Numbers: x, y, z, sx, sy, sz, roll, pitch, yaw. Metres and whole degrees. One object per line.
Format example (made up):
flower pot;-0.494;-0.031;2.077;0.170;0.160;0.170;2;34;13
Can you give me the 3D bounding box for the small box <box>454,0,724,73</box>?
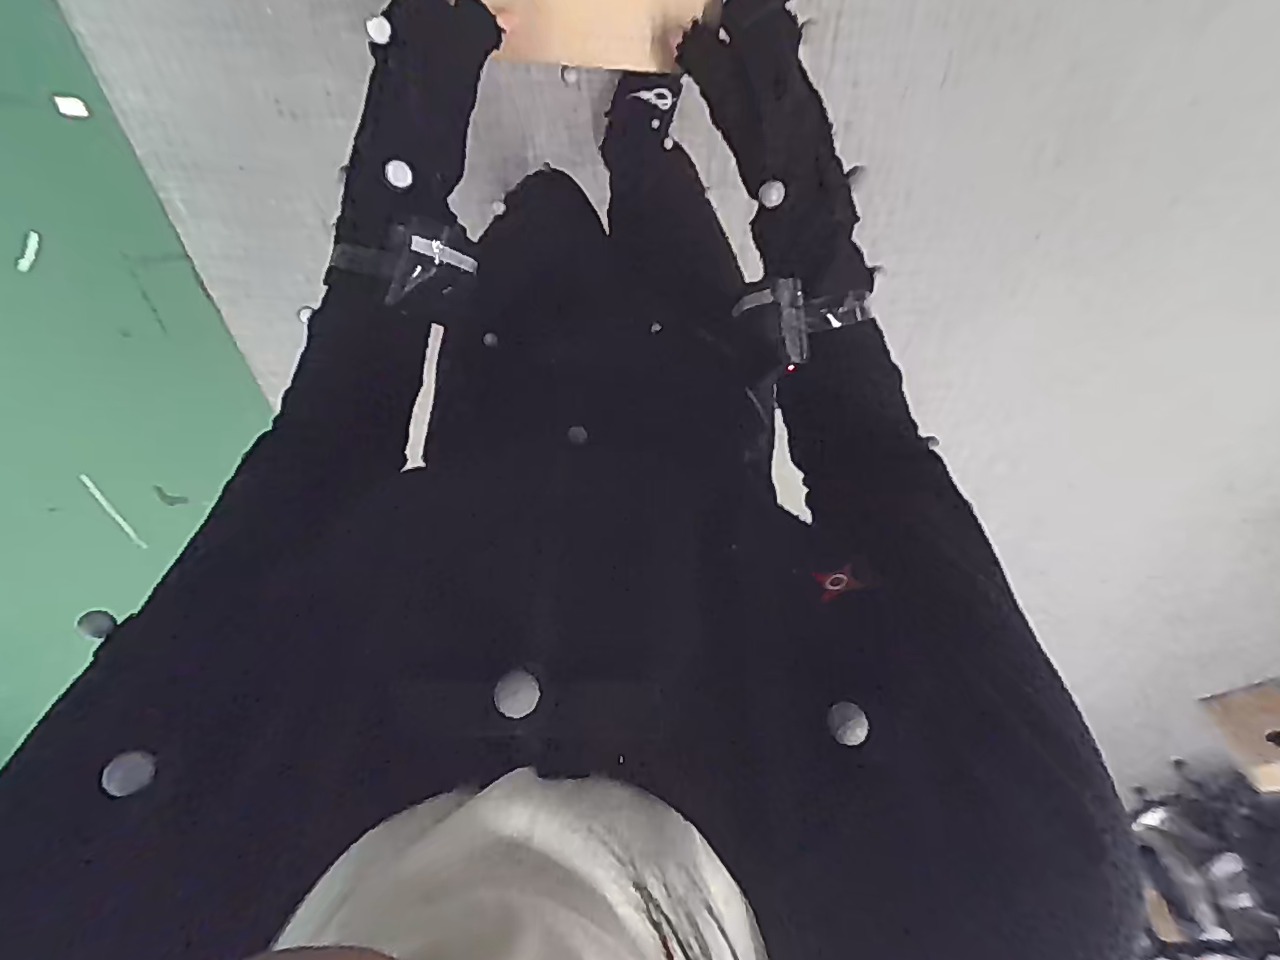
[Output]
small box;-0.035;-0.397;0.378;0.179;0.176;0.168;-1;130;-6
